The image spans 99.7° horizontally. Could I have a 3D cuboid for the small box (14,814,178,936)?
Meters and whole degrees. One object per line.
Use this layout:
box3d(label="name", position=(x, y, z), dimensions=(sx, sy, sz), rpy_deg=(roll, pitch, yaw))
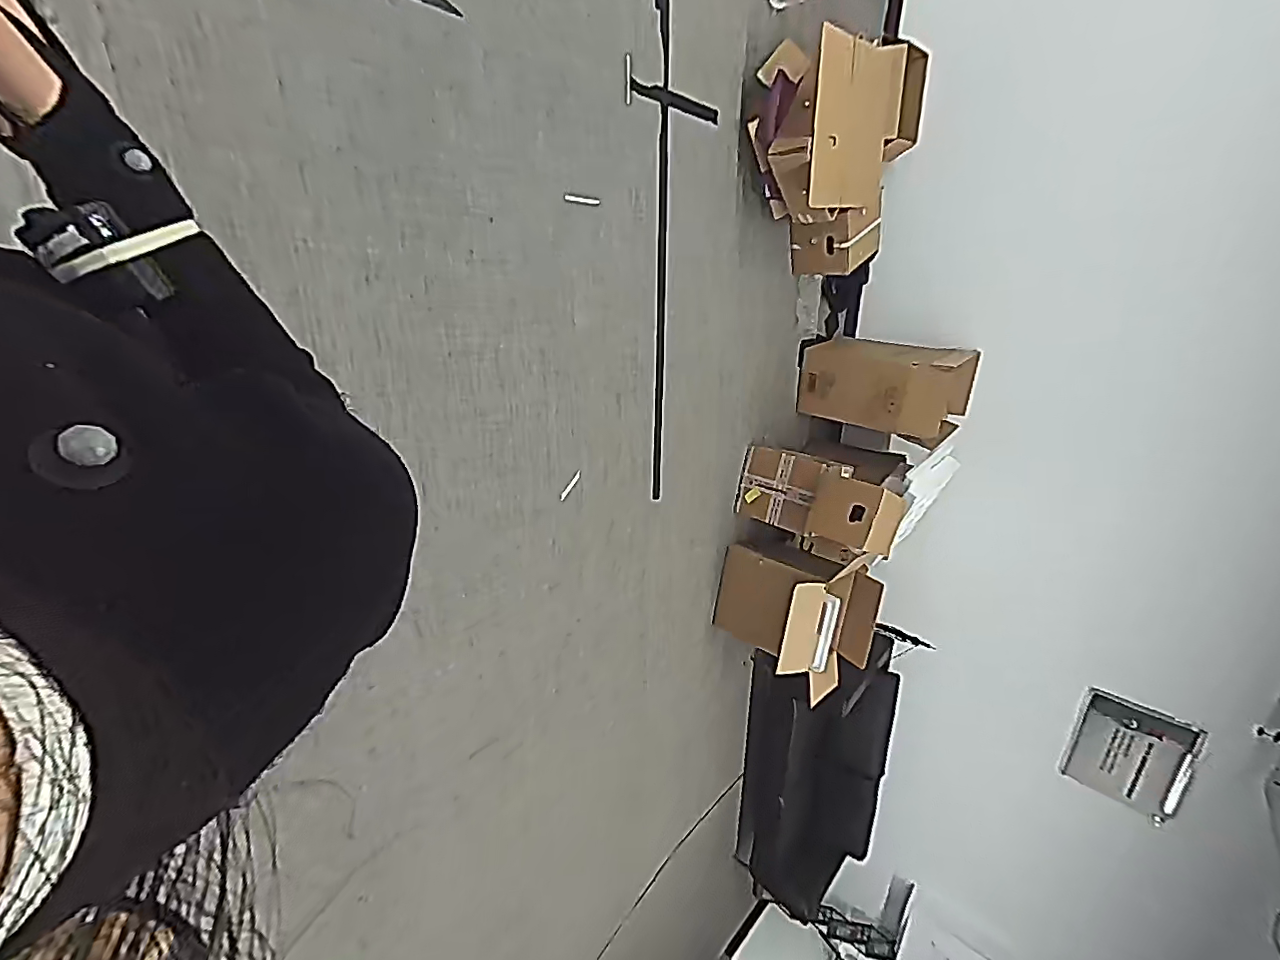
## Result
box3d(label="small box", position=(-0.951, 0.739, 0.949), dimensions=(0.179, 0.176, 0.168), rpy_deg=(-12, 112, -48))

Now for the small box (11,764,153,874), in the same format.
box3d(label="small box", position=(-1.073, 0.693, 1.046), dimensions=(0.179, 0.176, 0.168), rpy_deg=(-8, 109, -49))

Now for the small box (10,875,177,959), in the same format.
box3d(label="small box", position=(-0.835, 0.776, 0.837), dimensions=(0.168, 0.176, 0.179), rpy_deg=(-13, 111, -49))

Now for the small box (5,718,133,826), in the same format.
box3d(label="small box", position=(-1.196, 0.647, 1.144), dimensions=(0.179, 0.176, 0.168), rpy_deg=(-12, 113, -48))
